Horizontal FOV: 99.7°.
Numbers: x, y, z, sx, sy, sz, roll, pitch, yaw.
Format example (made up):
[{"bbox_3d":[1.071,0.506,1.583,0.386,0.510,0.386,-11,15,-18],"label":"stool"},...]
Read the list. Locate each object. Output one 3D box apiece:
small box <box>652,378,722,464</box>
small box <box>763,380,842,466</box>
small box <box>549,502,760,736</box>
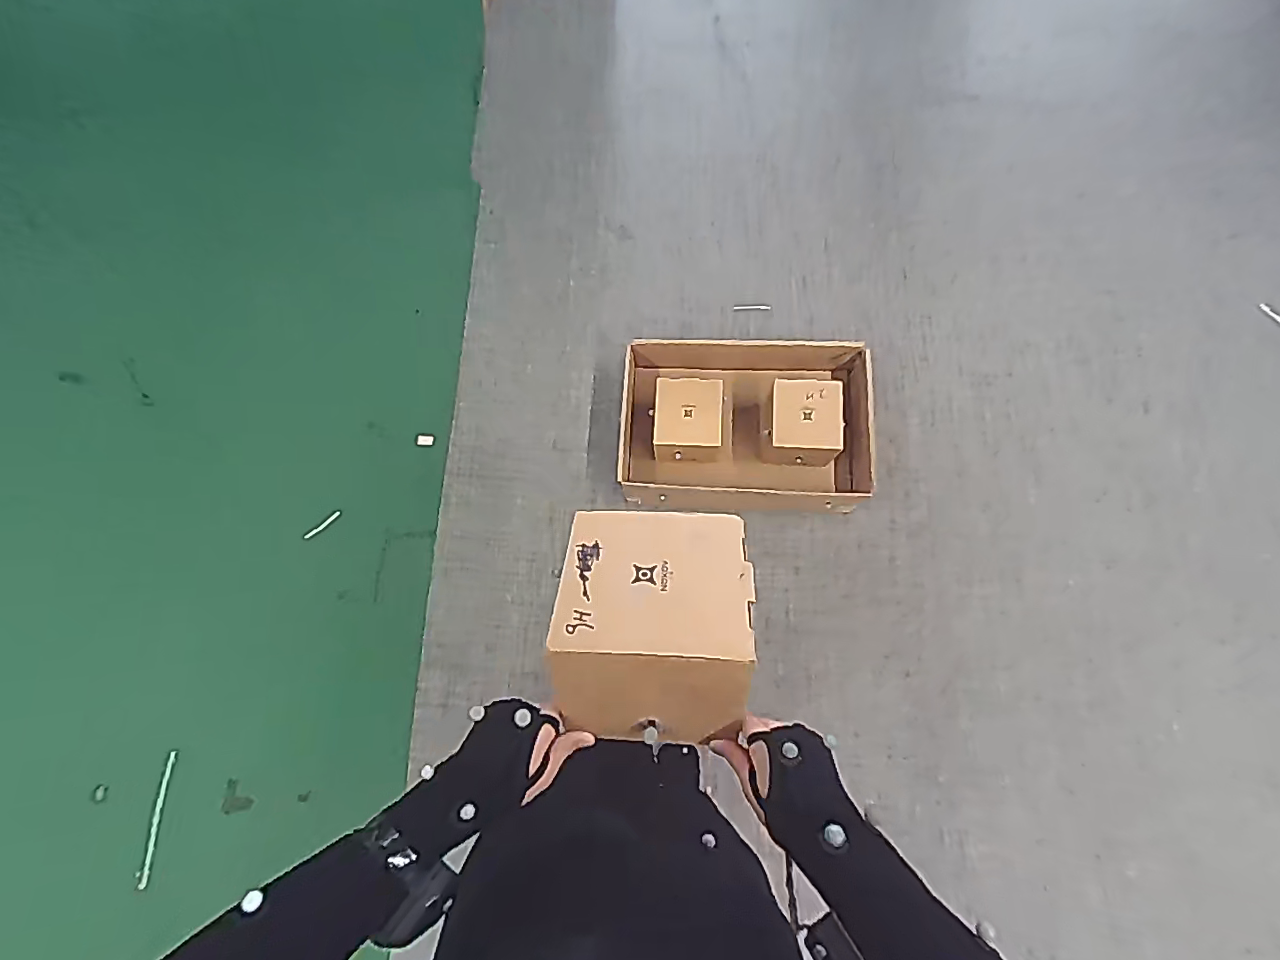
[{"bbox_3d":[0.122,-0.147,1.396,0.168,0.176,0.179,2,75,4],"label":"small box"},{"bbox_3d":[0.407,-0.138,1.370,0.168,0.176,0.179,3,76,5],"label":"small box"},{"bbox_3d":[0.018,0.142,0.553,0.179,0.176,0.168,2,41,4],"label":"small box"}]
